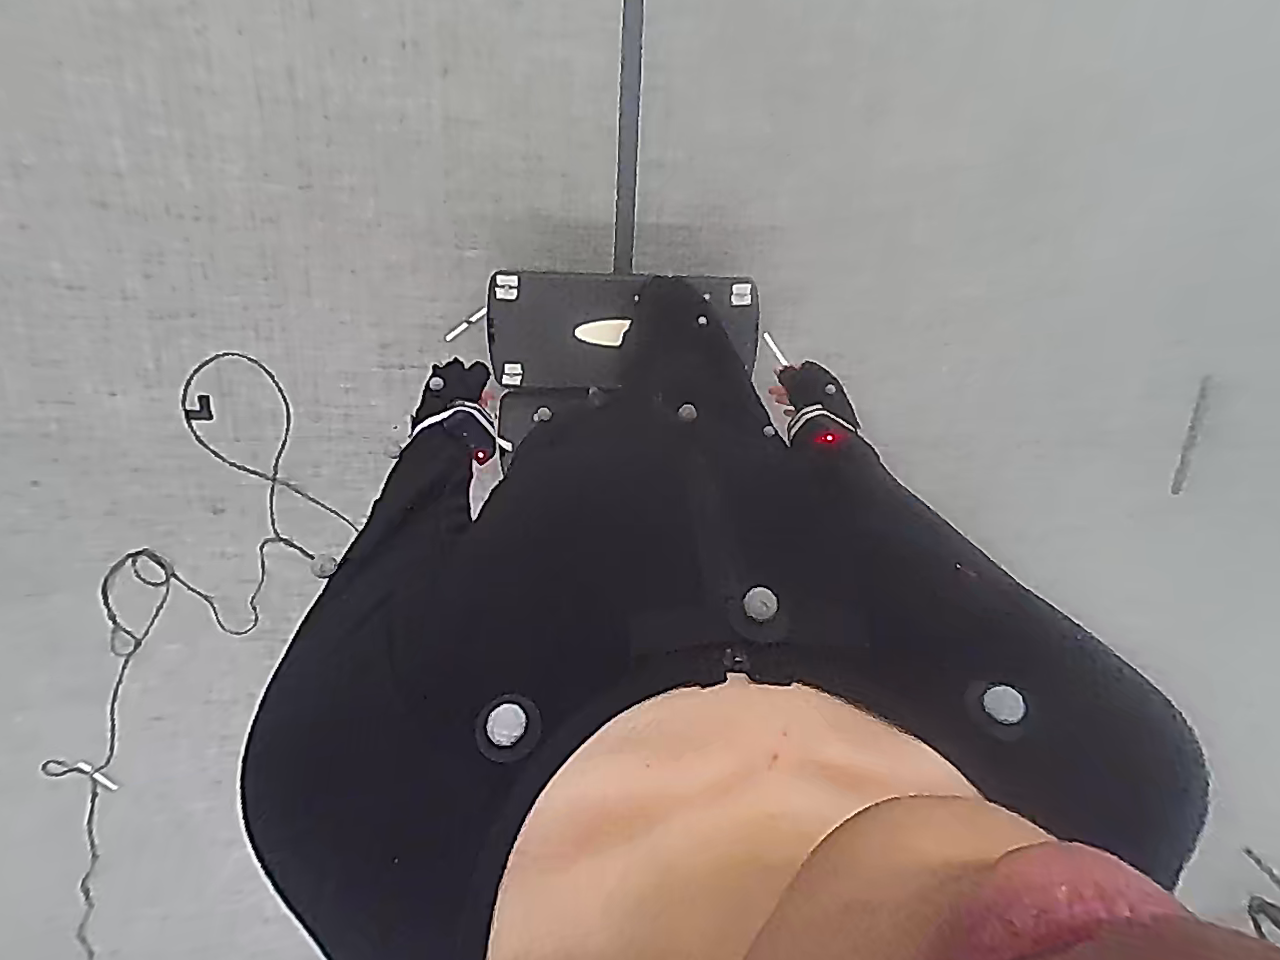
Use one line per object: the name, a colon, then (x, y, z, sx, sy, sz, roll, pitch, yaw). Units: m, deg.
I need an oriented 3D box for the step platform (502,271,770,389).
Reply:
step platform: (-0.011, -0.387, 1.410, 0.684, 0.204, 0.286, -1, 105, -6)
